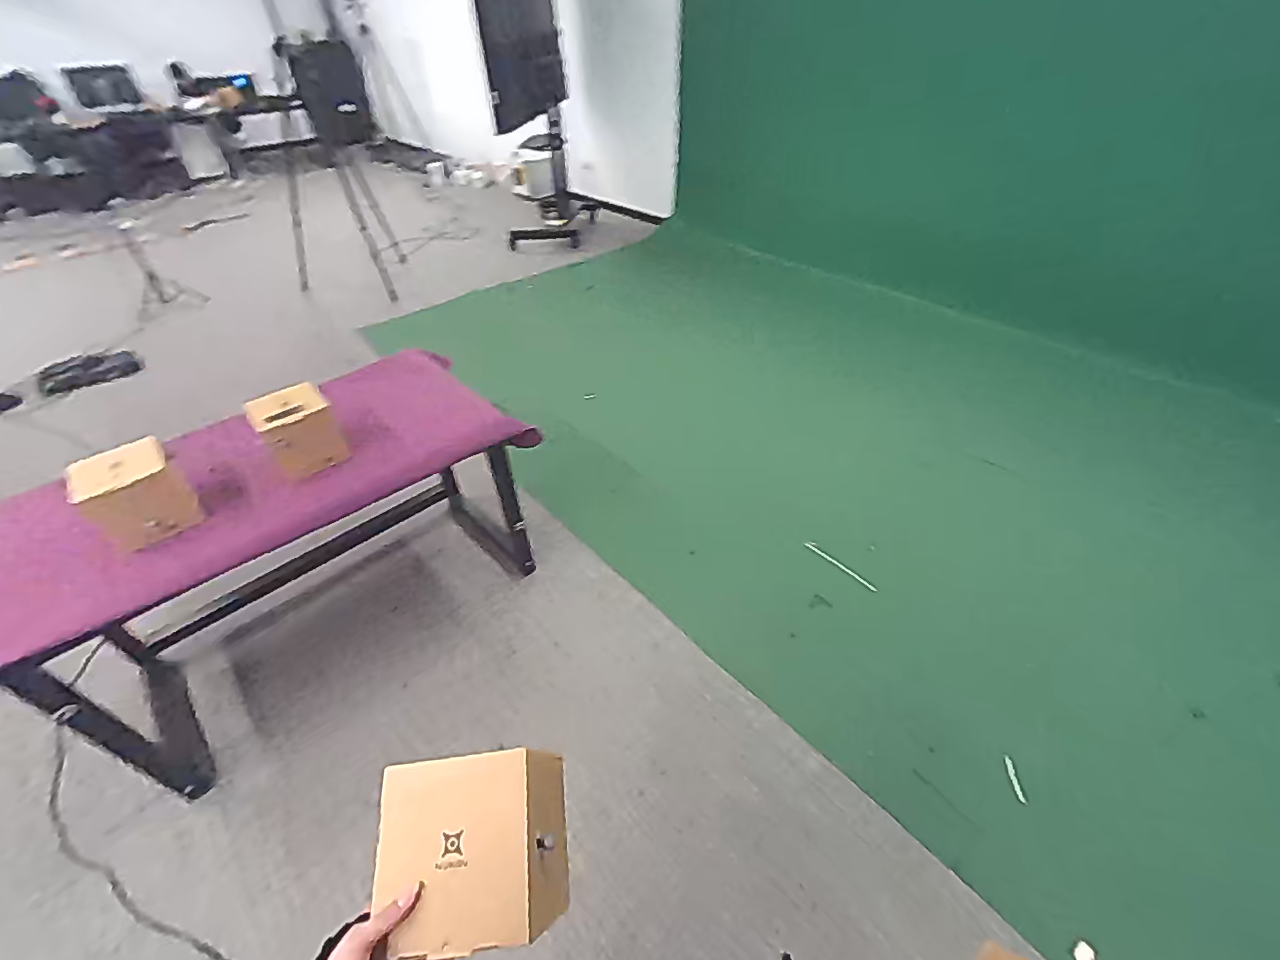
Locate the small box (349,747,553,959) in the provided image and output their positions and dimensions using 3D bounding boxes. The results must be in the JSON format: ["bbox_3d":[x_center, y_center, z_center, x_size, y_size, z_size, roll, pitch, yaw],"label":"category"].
[{"bbox_3d":[-0.201,0.418,0.624,0.168,0.176,0.179,-9,62,1],"label":"small box"}]

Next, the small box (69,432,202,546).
[{"bbox_3d":[-1.171,0.020,1.261,0.168,0.176,0.179,-31,50,-29],"label":"small box"}]
